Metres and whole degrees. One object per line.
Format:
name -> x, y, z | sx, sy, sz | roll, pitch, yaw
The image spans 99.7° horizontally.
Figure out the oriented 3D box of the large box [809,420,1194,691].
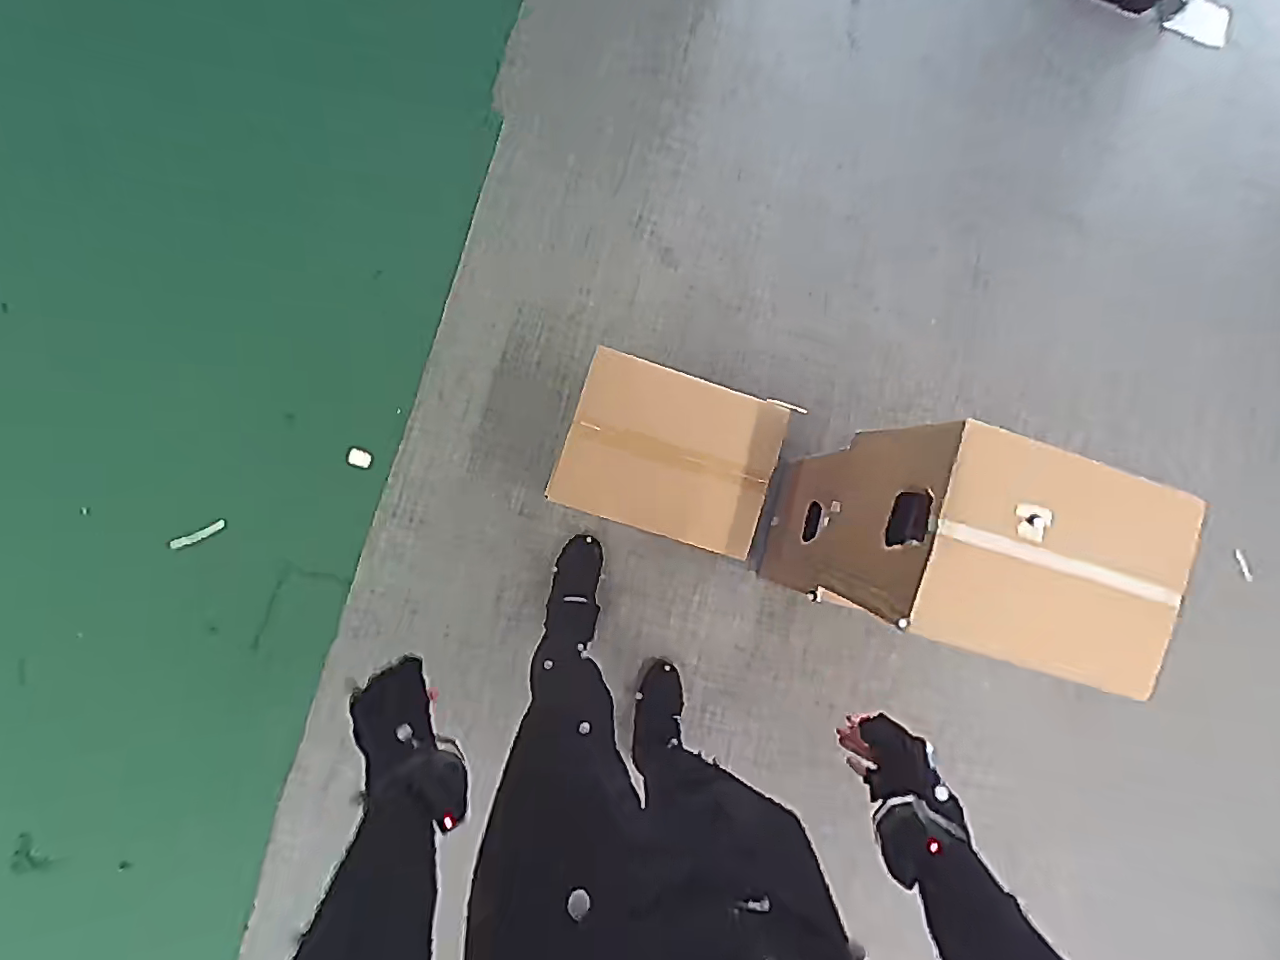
large box -> 0.570, 0.108, 0.924 | 0.408, 0.320, 0.320 | 17, 90, -5
